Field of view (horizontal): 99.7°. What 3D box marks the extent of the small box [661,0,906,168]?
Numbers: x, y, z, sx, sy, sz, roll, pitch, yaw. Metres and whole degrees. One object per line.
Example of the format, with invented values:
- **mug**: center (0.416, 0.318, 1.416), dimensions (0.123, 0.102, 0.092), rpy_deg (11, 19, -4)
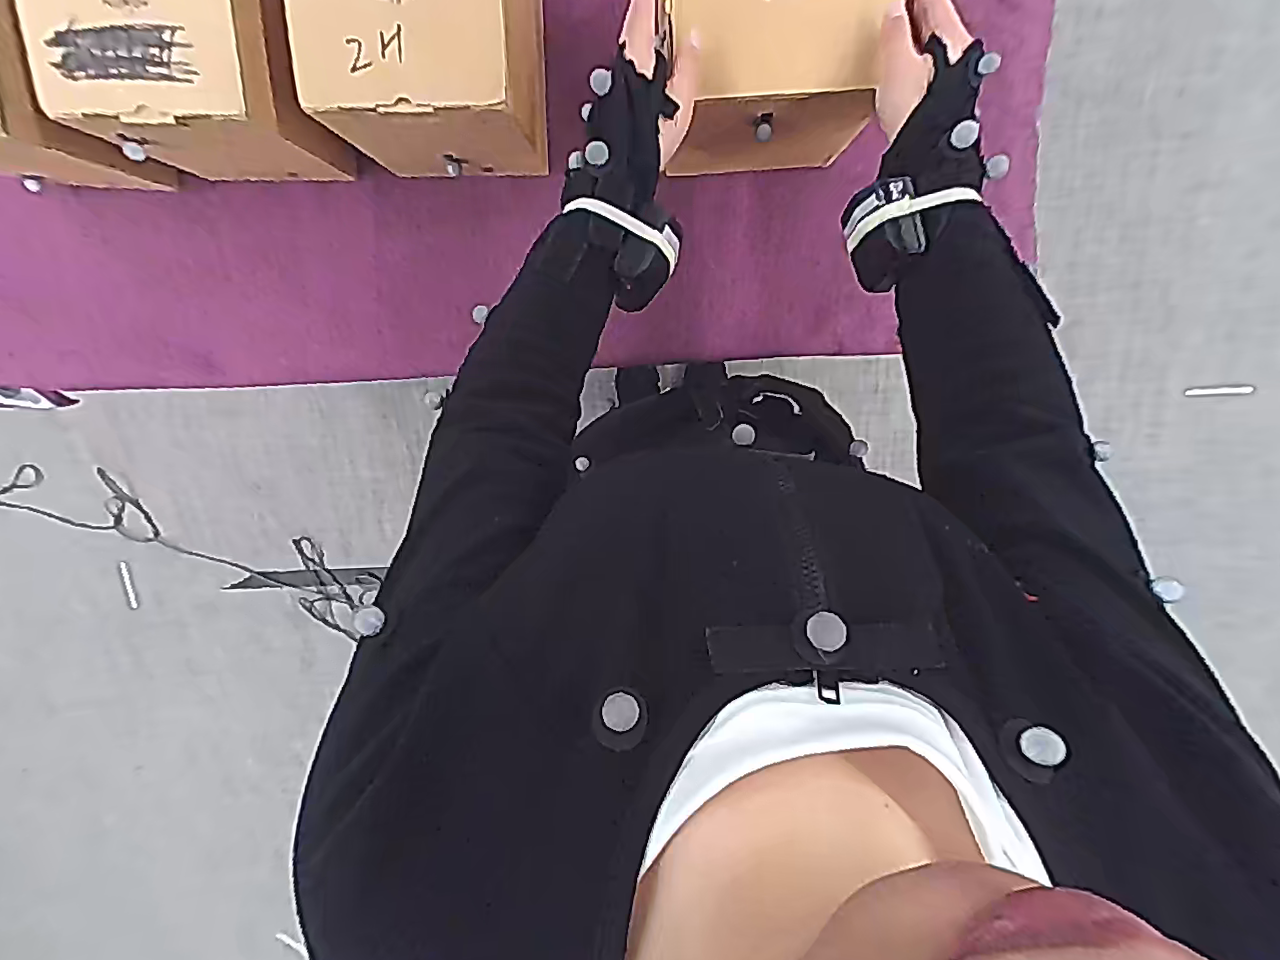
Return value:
- **small box**: center (0.109, -0.390, 0.470), dimensions (0.179, 0.176, 0.168), rpy_deg (-2, 103, 3)
